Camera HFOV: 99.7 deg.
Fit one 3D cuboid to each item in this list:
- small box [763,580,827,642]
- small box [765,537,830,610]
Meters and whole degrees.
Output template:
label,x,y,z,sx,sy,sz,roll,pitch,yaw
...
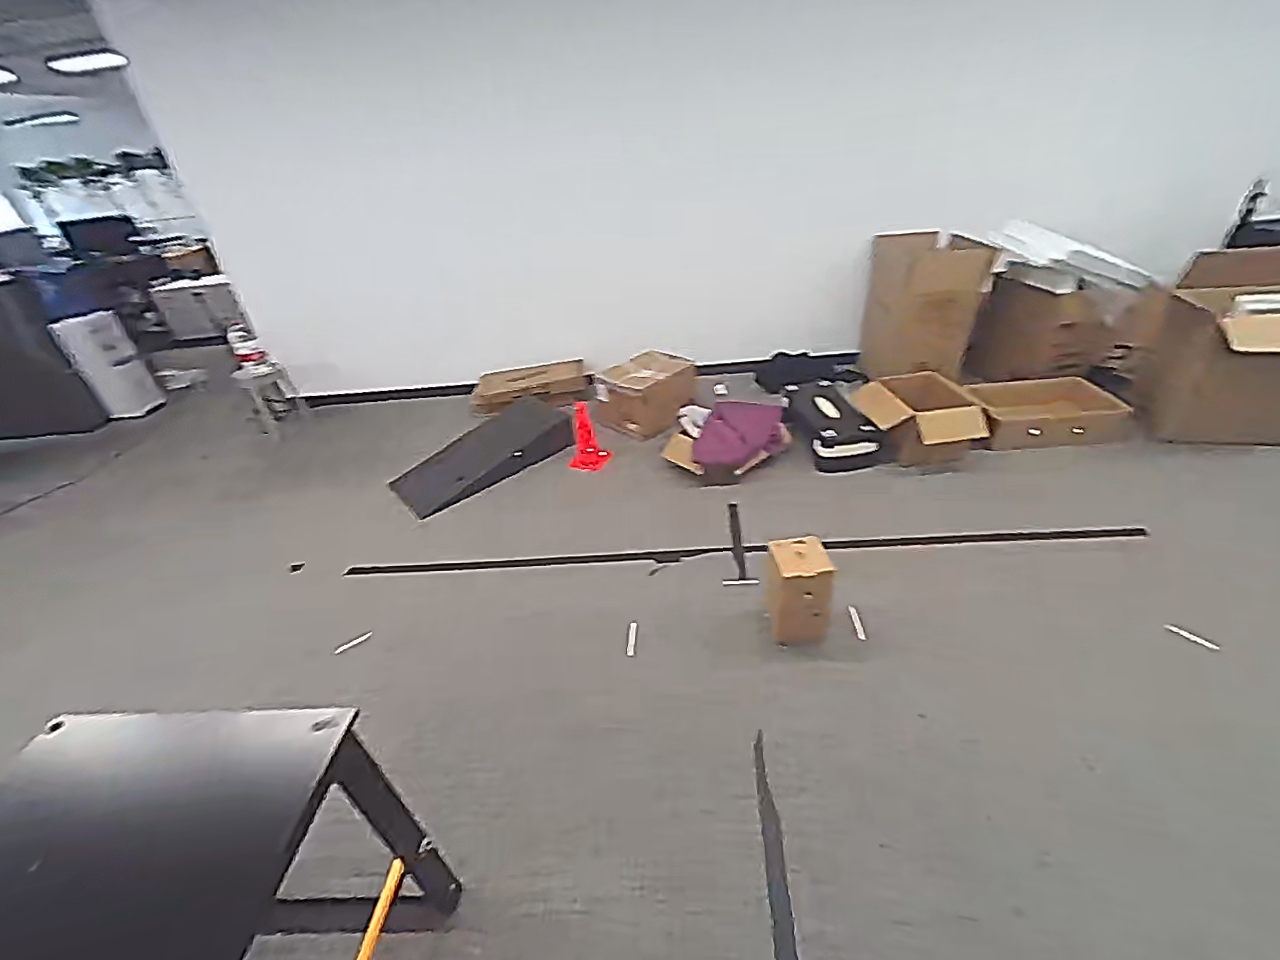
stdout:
label,x,y,z,sx,sy,sz,roll,pitch,yaw
small box,0.538,0.447,1.897,0.179,0.176,0.168,-7,33,0
small box,0.519,0.316,1.801,0.168,0.176,0.179,-7,34,-1
